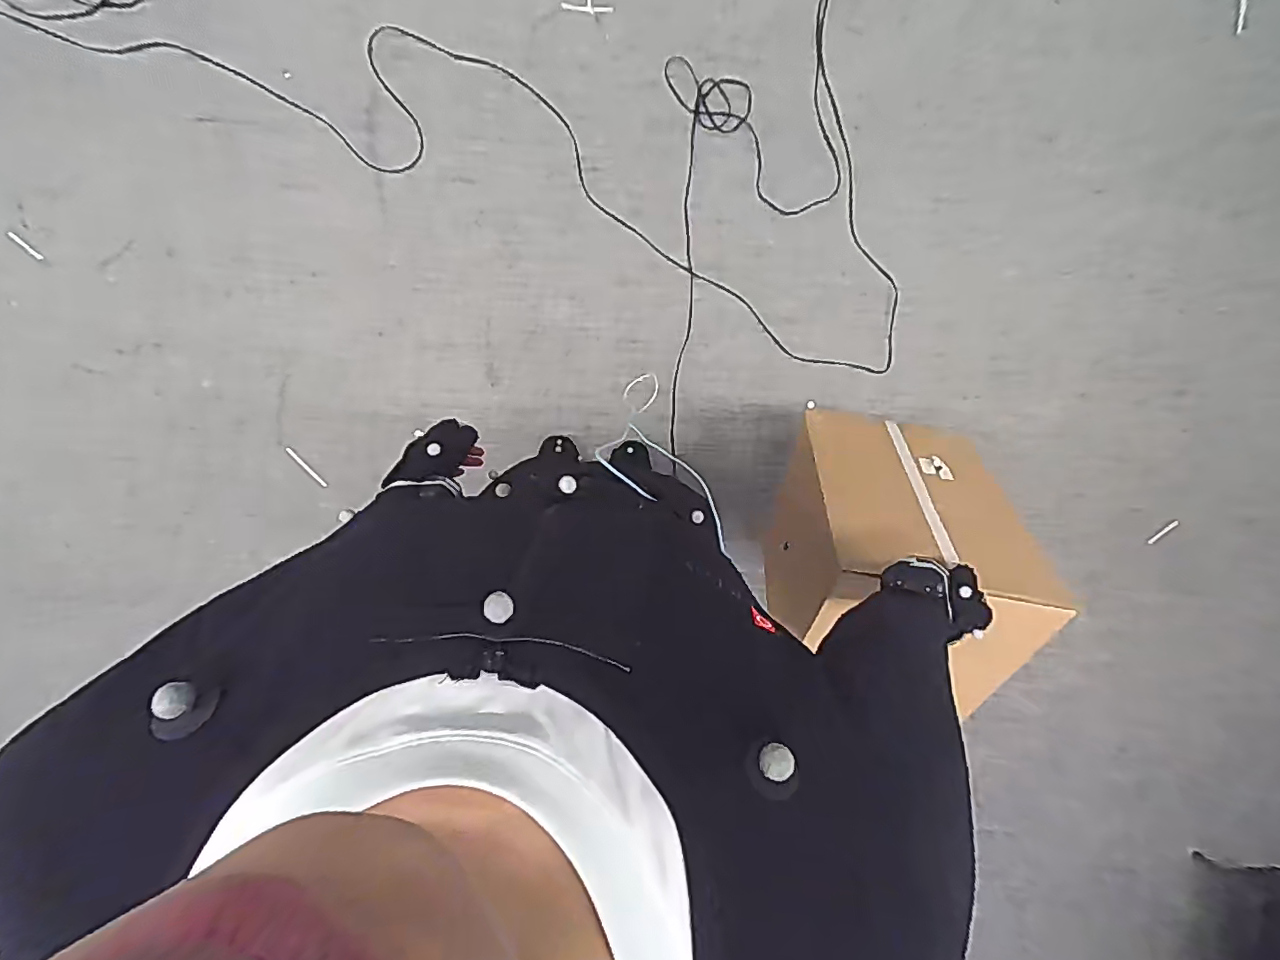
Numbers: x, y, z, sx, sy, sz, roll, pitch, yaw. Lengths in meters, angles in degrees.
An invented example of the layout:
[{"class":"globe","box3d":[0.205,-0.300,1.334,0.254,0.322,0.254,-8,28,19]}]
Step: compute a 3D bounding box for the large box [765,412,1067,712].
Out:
[{"class":"large box","box3d":[0.419,0.133,0.957,0.320,0.408,0.320,10,129,1]}]
